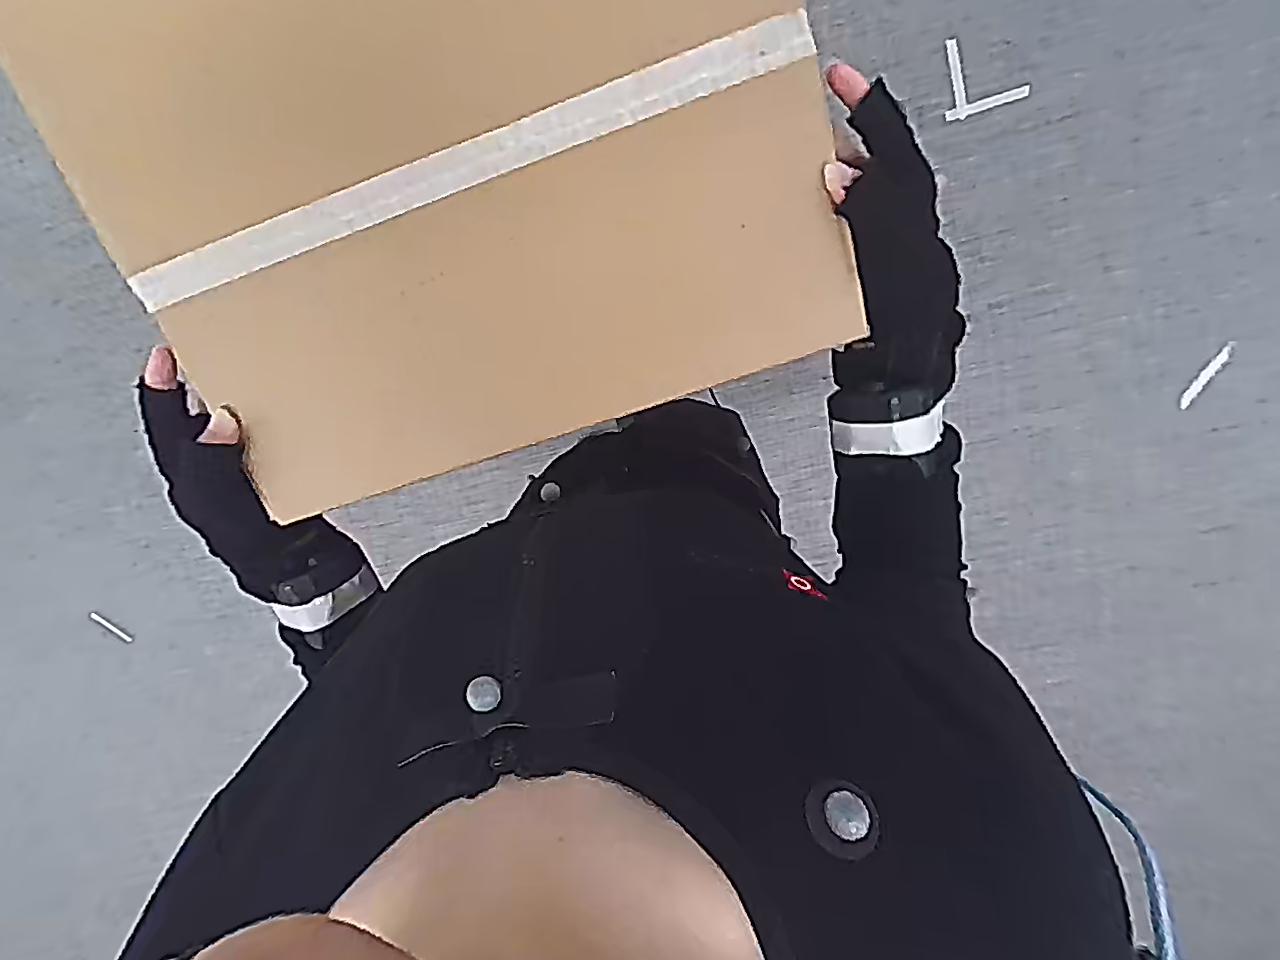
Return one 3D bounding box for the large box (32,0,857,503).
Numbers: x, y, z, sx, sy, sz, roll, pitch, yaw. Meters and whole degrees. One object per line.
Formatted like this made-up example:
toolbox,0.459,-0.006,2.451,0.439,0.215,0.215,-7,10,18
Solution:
large box,-0.097,-0.222,0.454,0.408,0.320,0.320,-17,108,6
